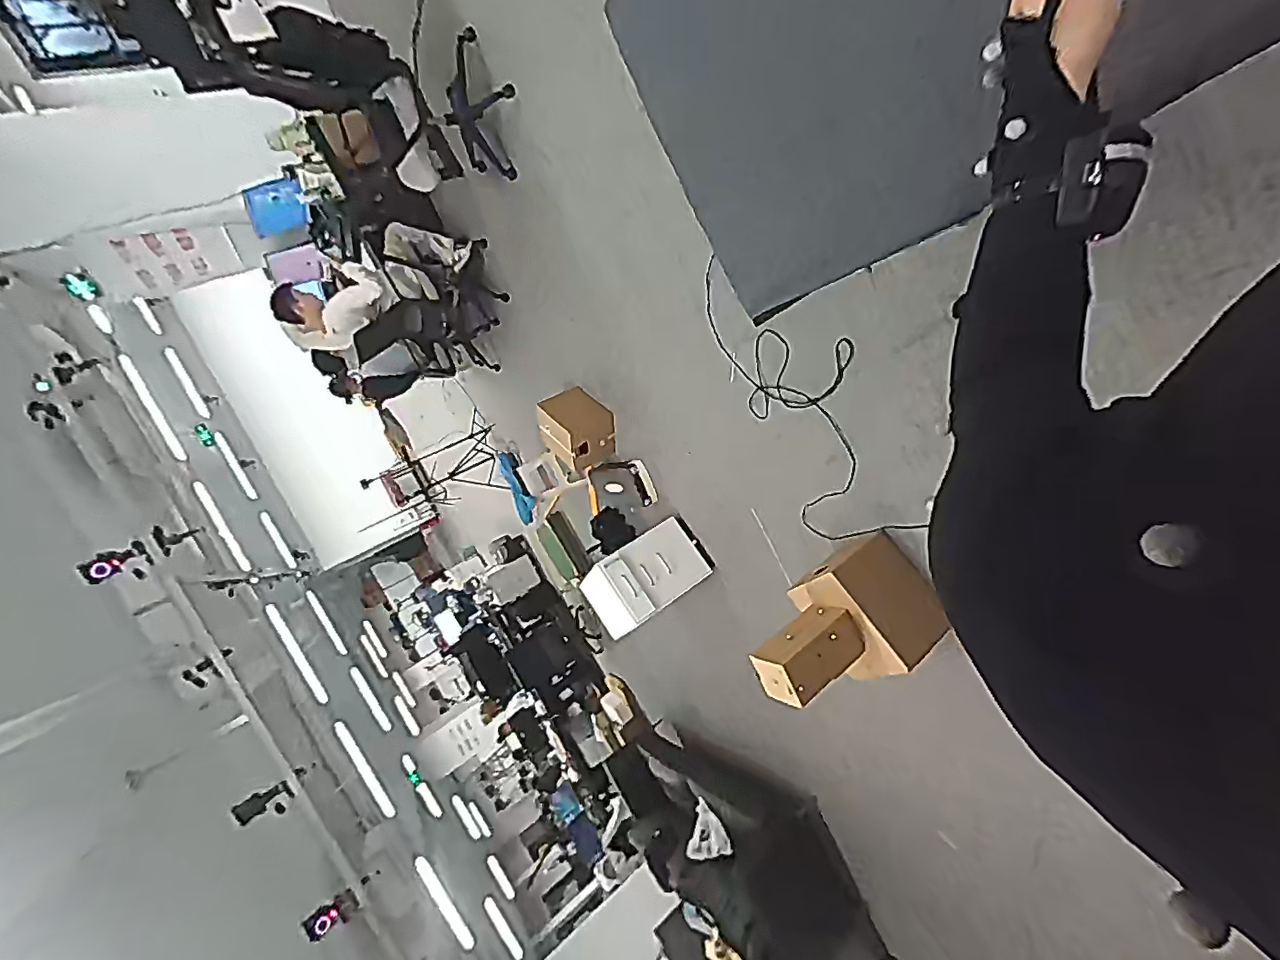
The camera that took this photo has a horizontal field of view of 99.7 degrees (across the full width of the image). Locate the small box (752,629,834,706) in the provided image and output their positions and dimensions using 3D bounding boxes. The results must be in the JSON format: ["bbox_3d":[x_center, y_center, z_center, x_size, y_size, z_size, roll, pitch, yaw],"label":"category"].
[{"bbox_3d":[0.523,0.630,1.844,0.168,0.176,0.179,63,155,-7],"label":"small box"}]
